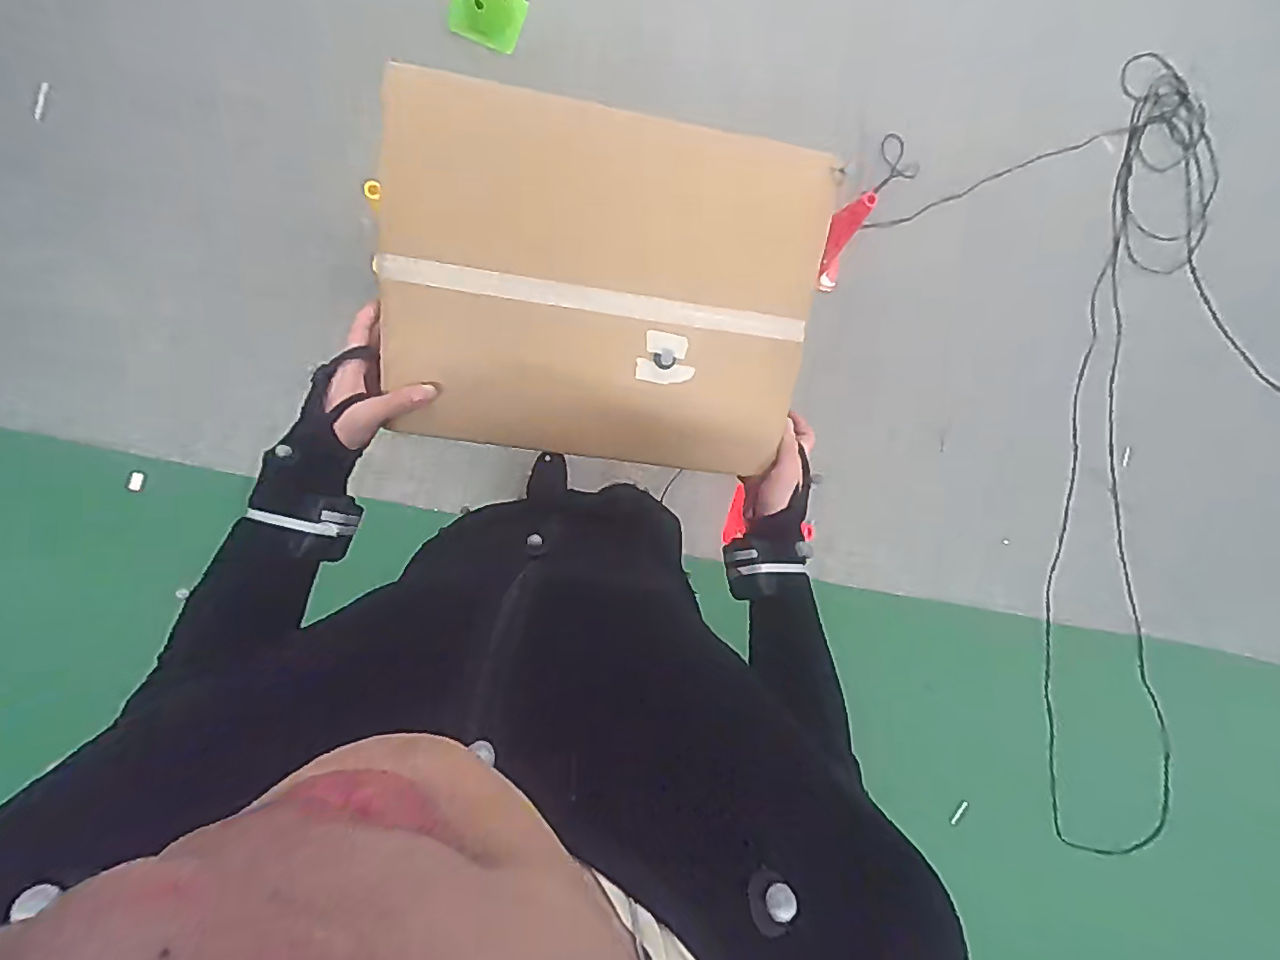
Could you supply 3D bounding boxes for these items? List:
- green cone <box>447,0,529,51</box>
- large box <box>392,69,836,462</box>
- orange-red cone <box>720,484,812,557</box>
[{"bbox_3d":[-0.423,-1.380,1.415,0.200,0.368,0.202,18,89,-7],"label":"green cone"},{"bbox_3d":[-0.048,-0.228,0.662,0.408,0.320,0.320,7,108,-8],"label":"large box"},{"bbox_3d":[0.392,0.133,1.536,0.199,0.360,0.198,19,89,-9],"label":"orange-red cone"}]
